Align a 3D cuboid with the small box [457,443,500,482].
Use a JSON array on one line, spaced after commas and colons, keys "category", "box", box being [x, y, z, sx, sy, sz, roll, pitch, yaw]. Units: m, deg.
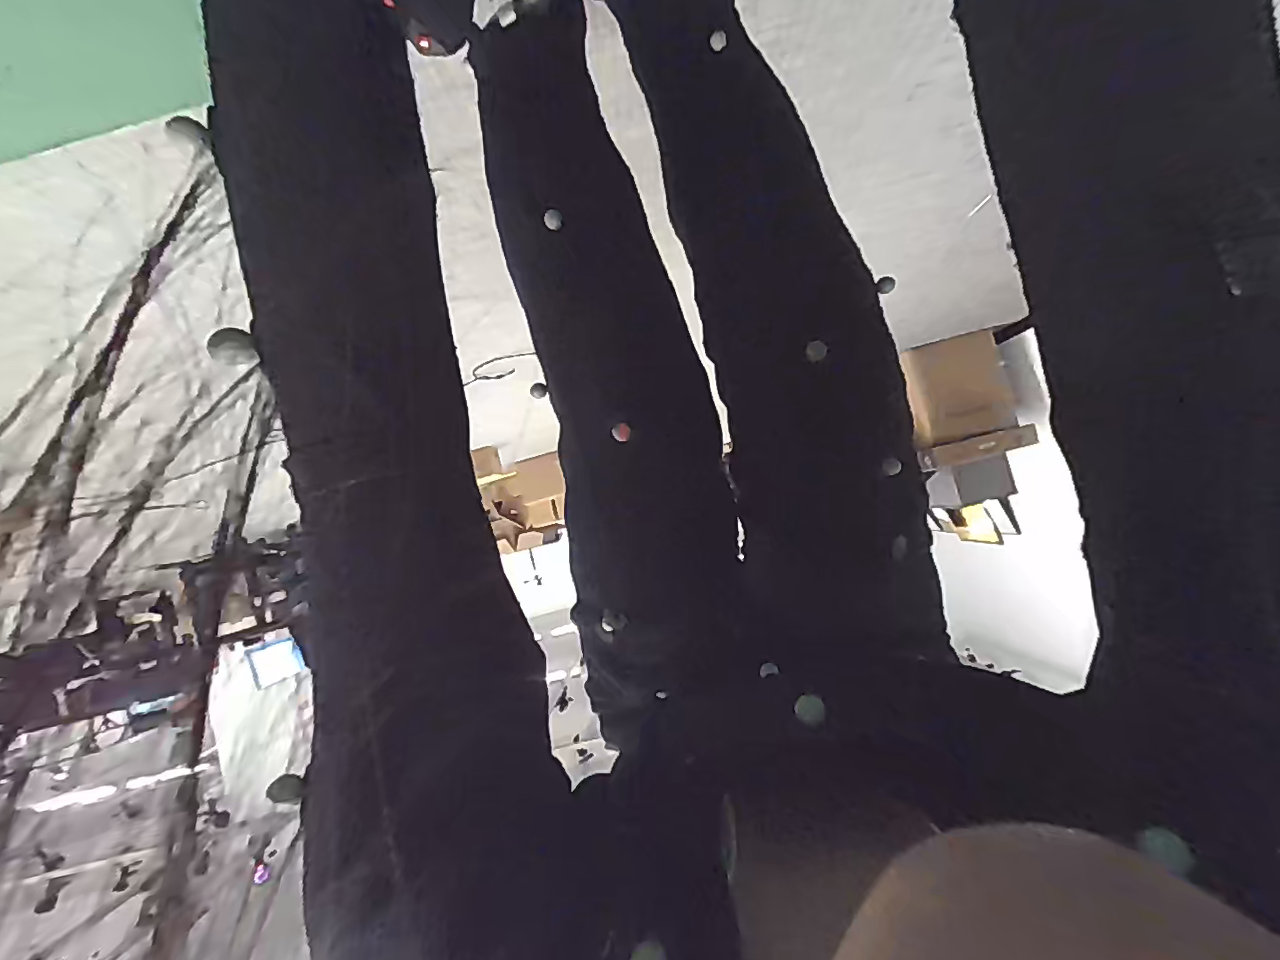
[{"category": "small box", "box": [-0.899, -0.095, 2.992, 0.179, 0.176, 0.168, -16, 177, 2]}]
